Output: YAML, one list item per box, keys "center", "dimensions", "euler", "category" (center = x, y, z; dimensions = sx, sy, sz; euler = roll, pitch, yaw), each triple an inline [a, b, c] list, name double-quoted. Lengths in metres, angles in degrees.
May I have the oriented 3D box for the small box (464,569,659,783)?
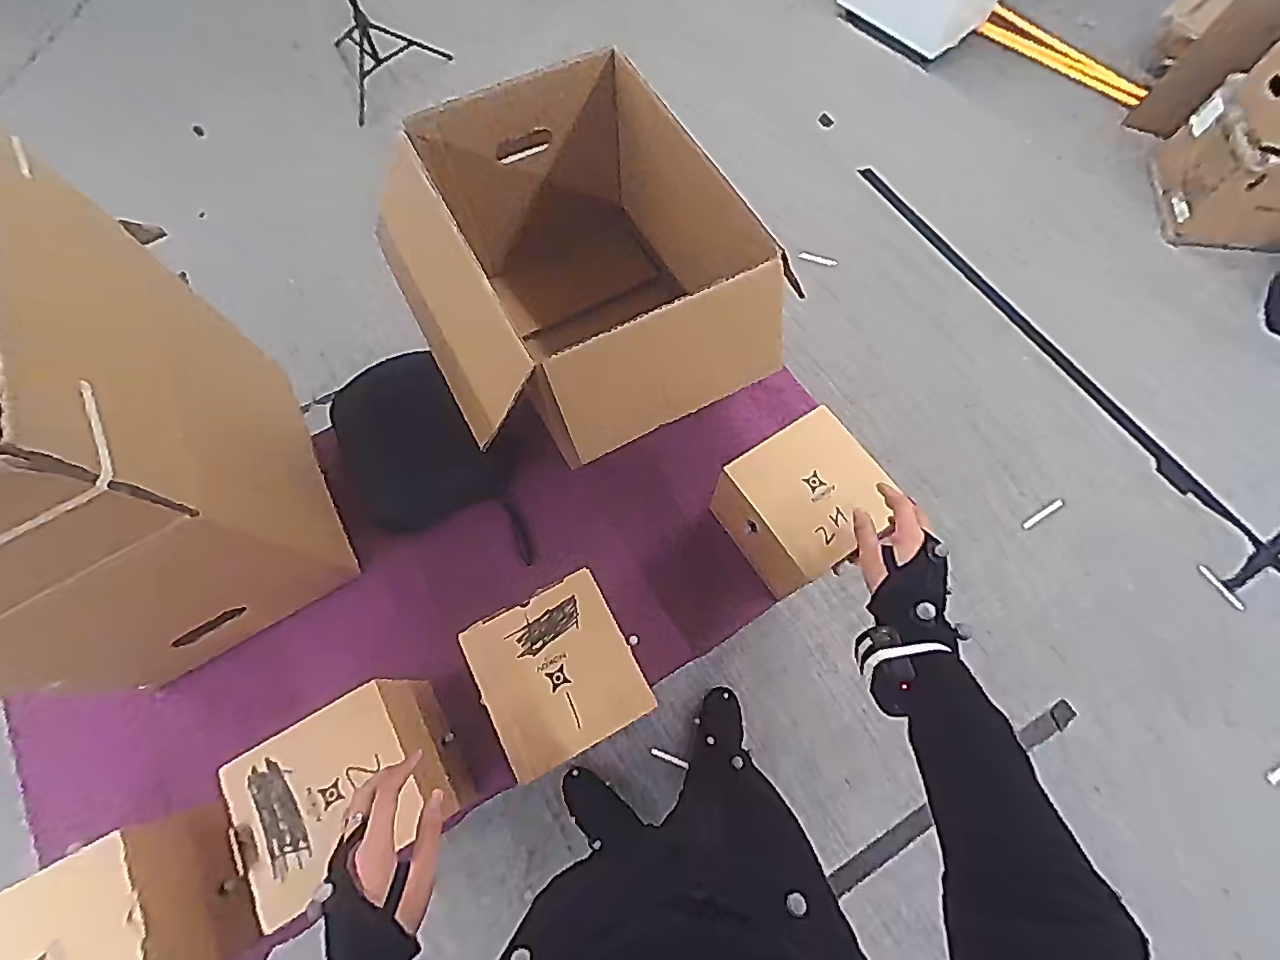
- center: [-0.091, 0.237, 0.671]
  dimensions: [0.168, 0.176, 0.179]
  euler: [-27, 73, -9]
  category: "small box"

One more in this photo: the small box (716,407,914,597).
- center: [0.220, 0.039, 0.741]
  dimensions: [0.168, 0.176, 0.179]
  euler: [-32, 72, -10]
  category: "small box"
